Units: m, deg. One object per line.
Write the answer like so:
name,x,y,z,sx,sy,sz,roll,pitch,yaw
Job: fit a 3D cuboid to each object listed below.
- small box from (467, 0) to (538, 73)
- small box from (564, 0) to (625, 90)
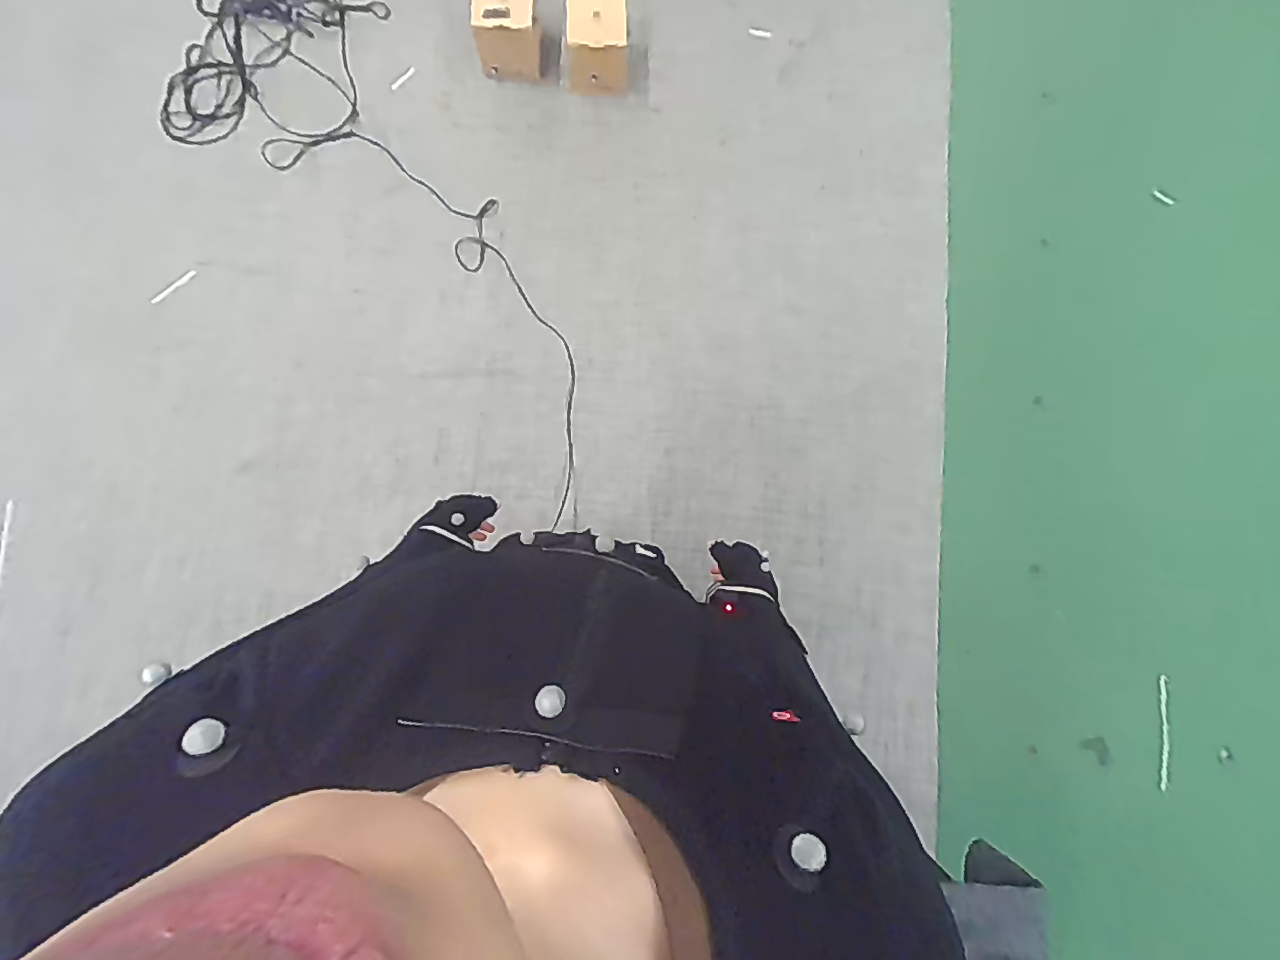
small box,-0.382,-1.296,1.527,0.168,0.176,0.179,2,84,-3
small box,-0.129,-1.260,1.540,0.168,0.176,0.179,-1,86,-3
